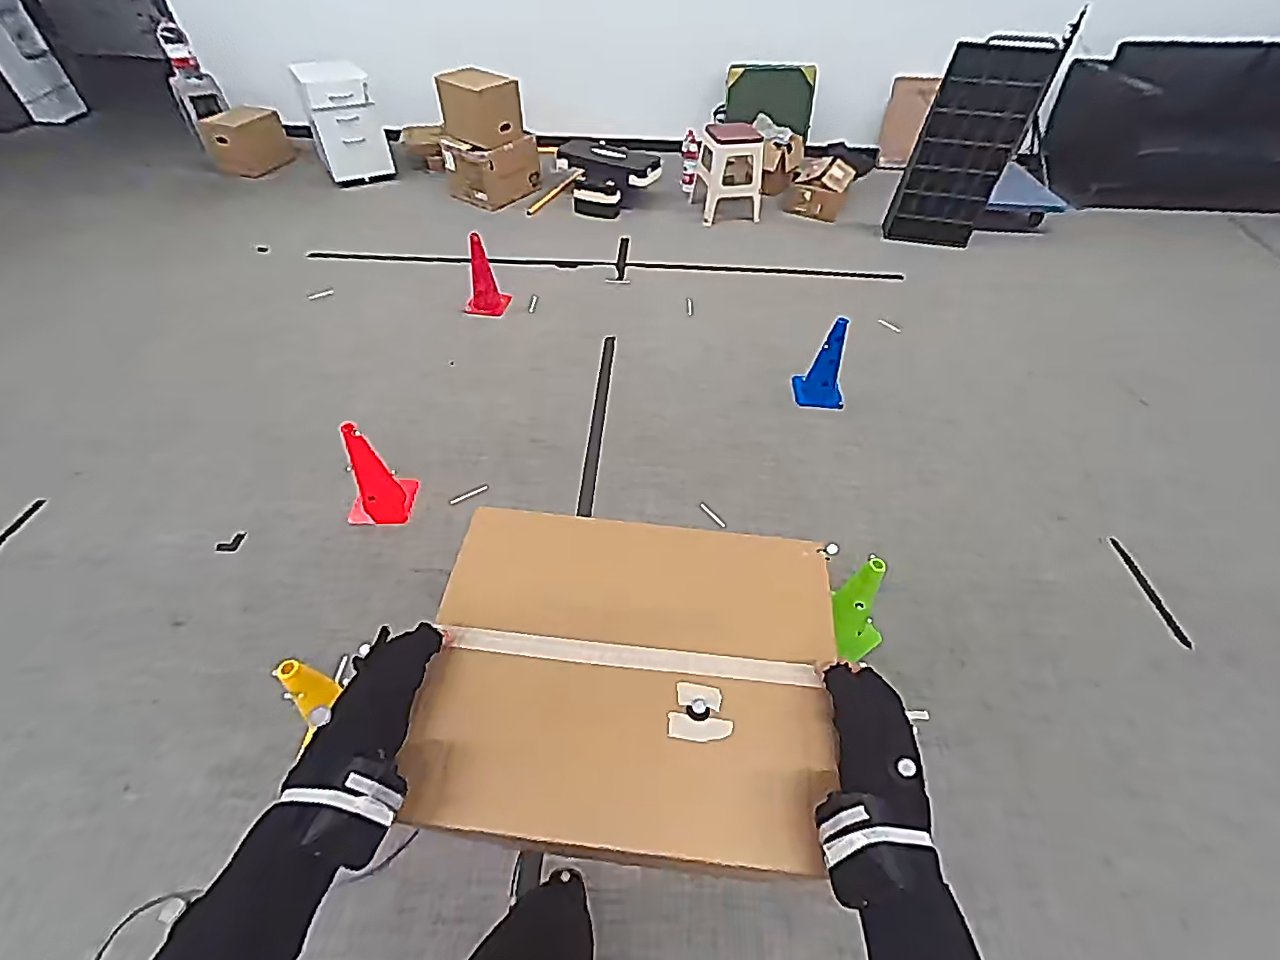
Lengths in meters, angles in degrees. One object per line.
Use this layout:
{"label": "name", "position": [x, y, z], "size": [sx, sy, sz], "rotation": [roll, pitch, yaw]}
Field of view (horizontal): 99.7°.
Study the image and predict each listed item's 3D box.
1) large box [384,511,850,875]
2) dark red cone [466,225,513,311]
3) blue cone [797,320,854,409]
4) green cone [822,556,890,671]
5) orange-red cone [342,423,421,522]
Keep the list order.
{"label": "large box", "position": [-0.015, 0.265, 0.659], "size": [0.408, 0.320, 0.320], "rotation": [6, 53, 2]}
{"label": "dark red cone", "position": [-0.749, -1.021, 2.598], "size": [0.201, 0.394, 0.202], "rotation": [8, 49, 4]}
{"label": "blue cone", "position": [0.791, -0.488, 2.229], "size": [0.192, 0.380, 0.193], "rotation": [6, 48, 2]}
{"label": "green cone", "position": [0.590, 0.327, 1.469], "size": [0.202, 0.368, 0.200], "rotation": [-26, 55, -25]}
{"label": "orange-red cone", "position": [-0.875, -0.042, 1.751], "size": [0.198, 0.360, 0.199], "rotation": [0, 50, 0]}
